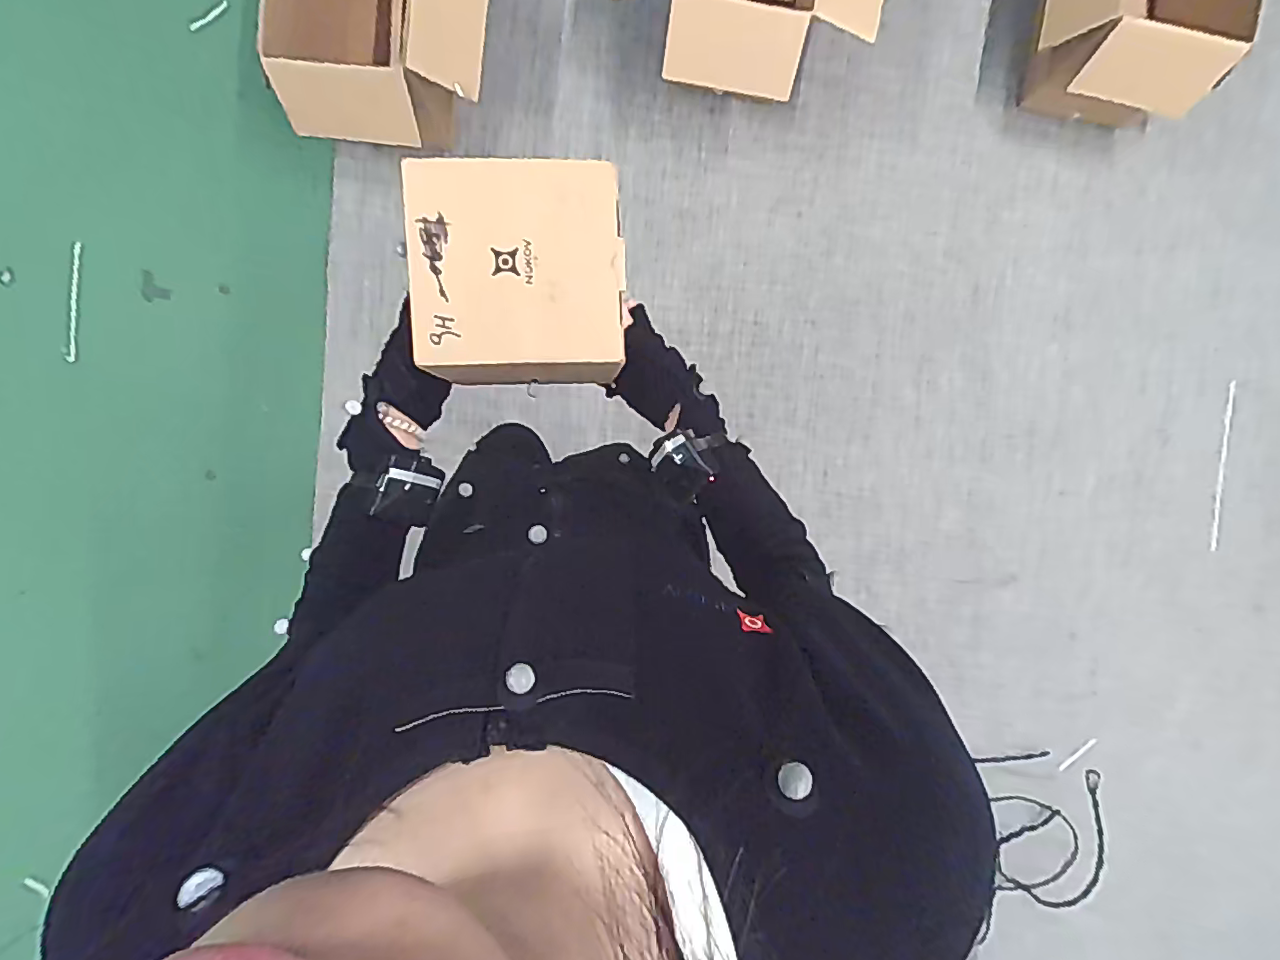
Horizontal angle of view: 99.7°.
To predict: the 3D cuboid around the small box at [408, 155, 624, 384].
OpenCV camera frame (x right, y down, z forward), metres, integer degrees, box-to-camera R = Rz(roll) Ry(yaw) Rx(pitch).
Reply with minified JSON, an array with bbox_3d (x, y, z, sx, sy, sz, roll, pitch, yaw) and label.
[{"bbox_3d":[-0.112,-0.188,0.531,0.179,0.176,0.168,-1,94,-7],"label":"small box"}]
